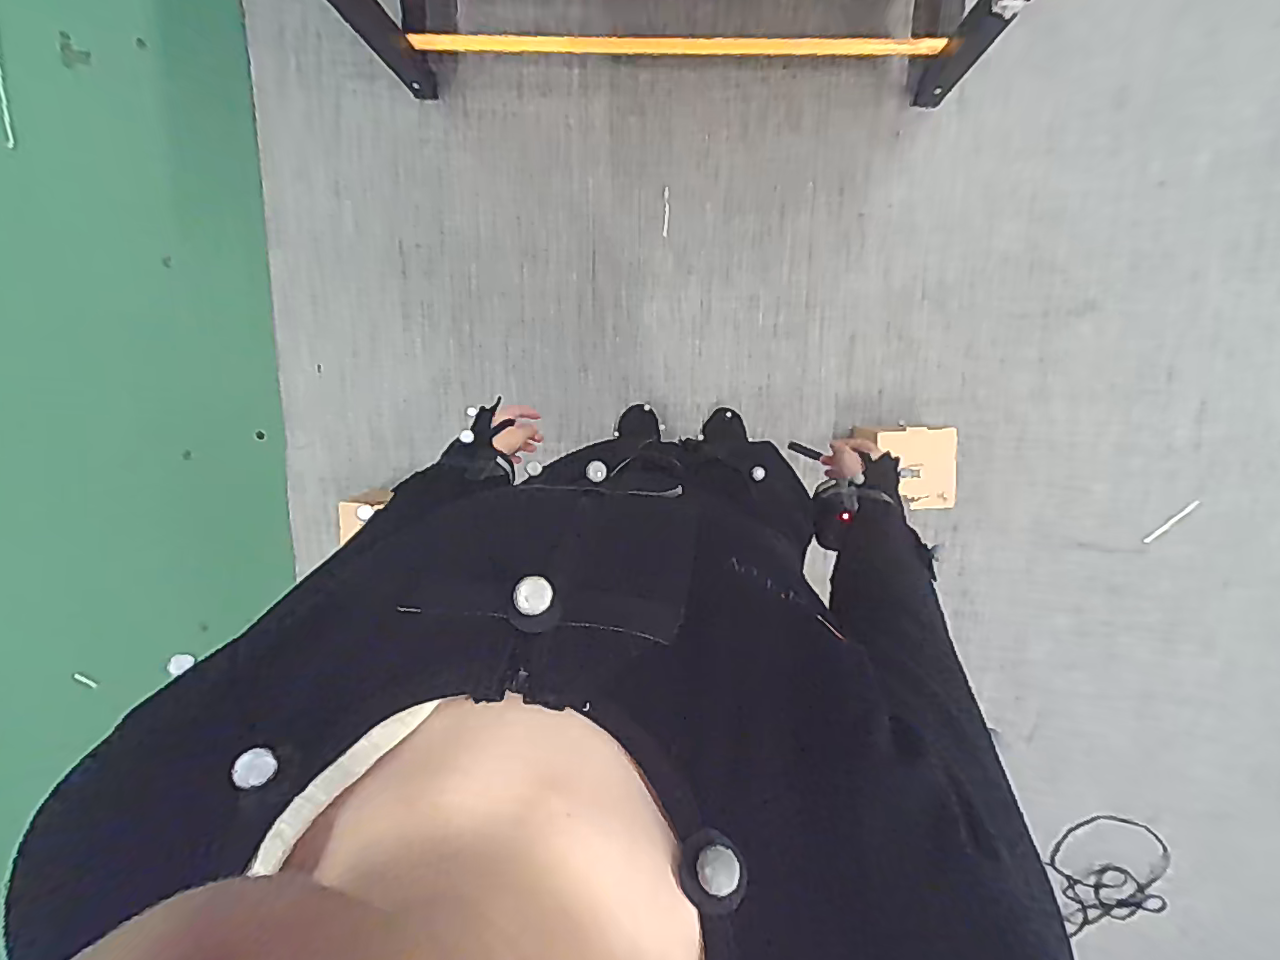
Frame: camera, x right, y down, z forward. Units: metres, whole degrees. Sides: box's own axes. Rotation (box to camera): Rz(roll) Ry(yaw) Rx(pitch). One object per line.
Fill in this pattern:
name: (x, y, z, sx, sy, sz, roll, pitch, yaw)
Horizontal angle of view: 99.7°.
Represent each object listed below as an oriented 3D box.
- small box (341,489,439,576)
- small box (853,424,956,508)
small box: (-0.621, 0.124, 1.357, 0.168, 0.176, 0.179, 5, 101, 4)
small box: (0.594, -0.038, 1.231, 0.168, 0.176, 0.179, -3, 98, 5)
